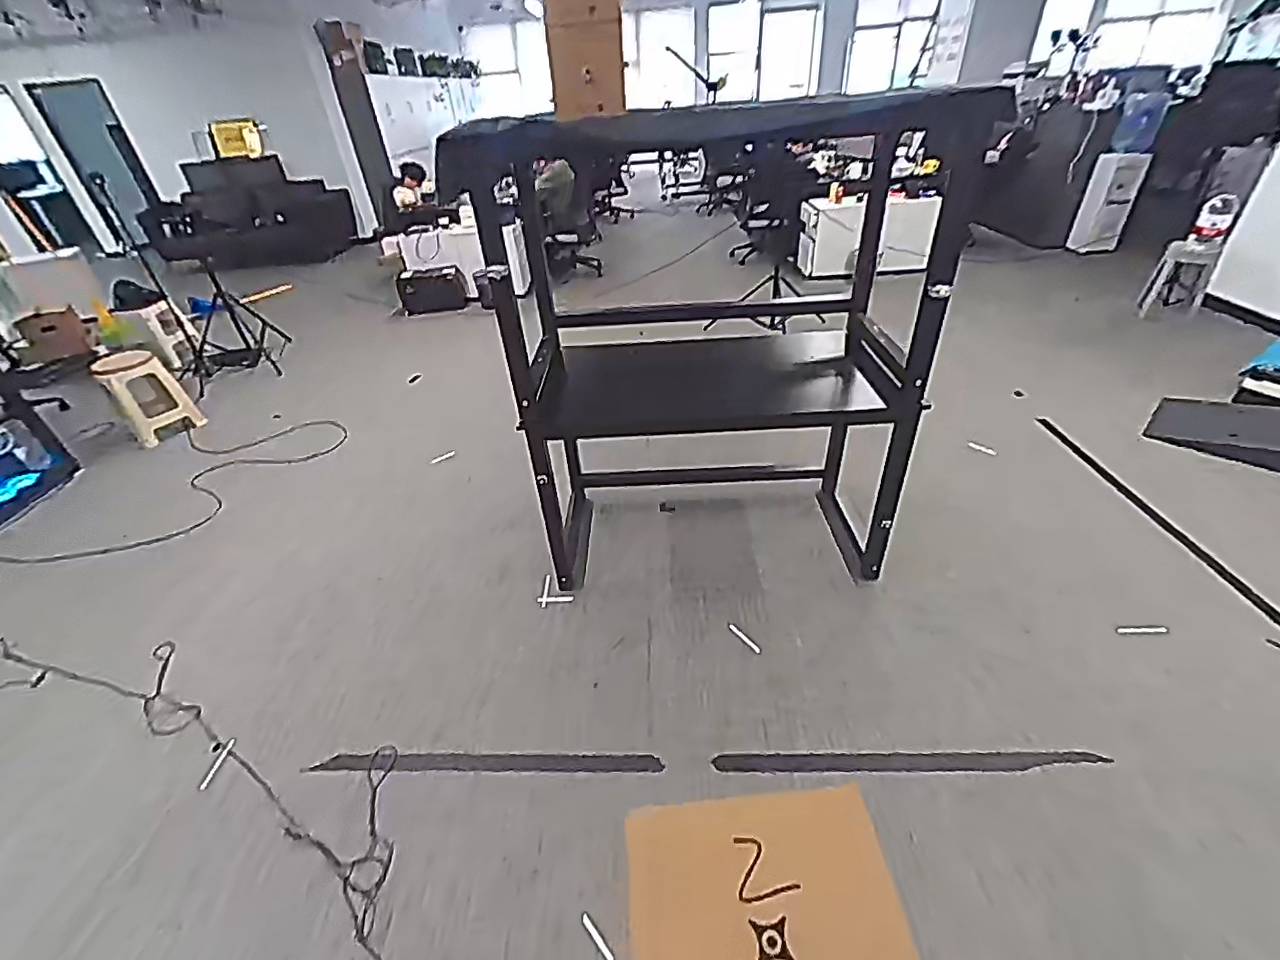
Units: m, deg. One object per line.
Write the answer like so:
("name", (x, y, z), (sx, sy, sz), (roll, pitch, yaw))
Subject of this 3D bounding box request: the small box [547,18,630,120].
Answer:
("small box", (-0.111, -0.930, 1.233), (0.168, 0.176, 0.179), (-4, 35, -1))

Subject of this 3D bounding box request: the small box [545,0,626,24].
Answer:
("small box", (-0.120, -1.067, 1.141), (0.168, 0.176, 0.179), (-5, 35, 1))
